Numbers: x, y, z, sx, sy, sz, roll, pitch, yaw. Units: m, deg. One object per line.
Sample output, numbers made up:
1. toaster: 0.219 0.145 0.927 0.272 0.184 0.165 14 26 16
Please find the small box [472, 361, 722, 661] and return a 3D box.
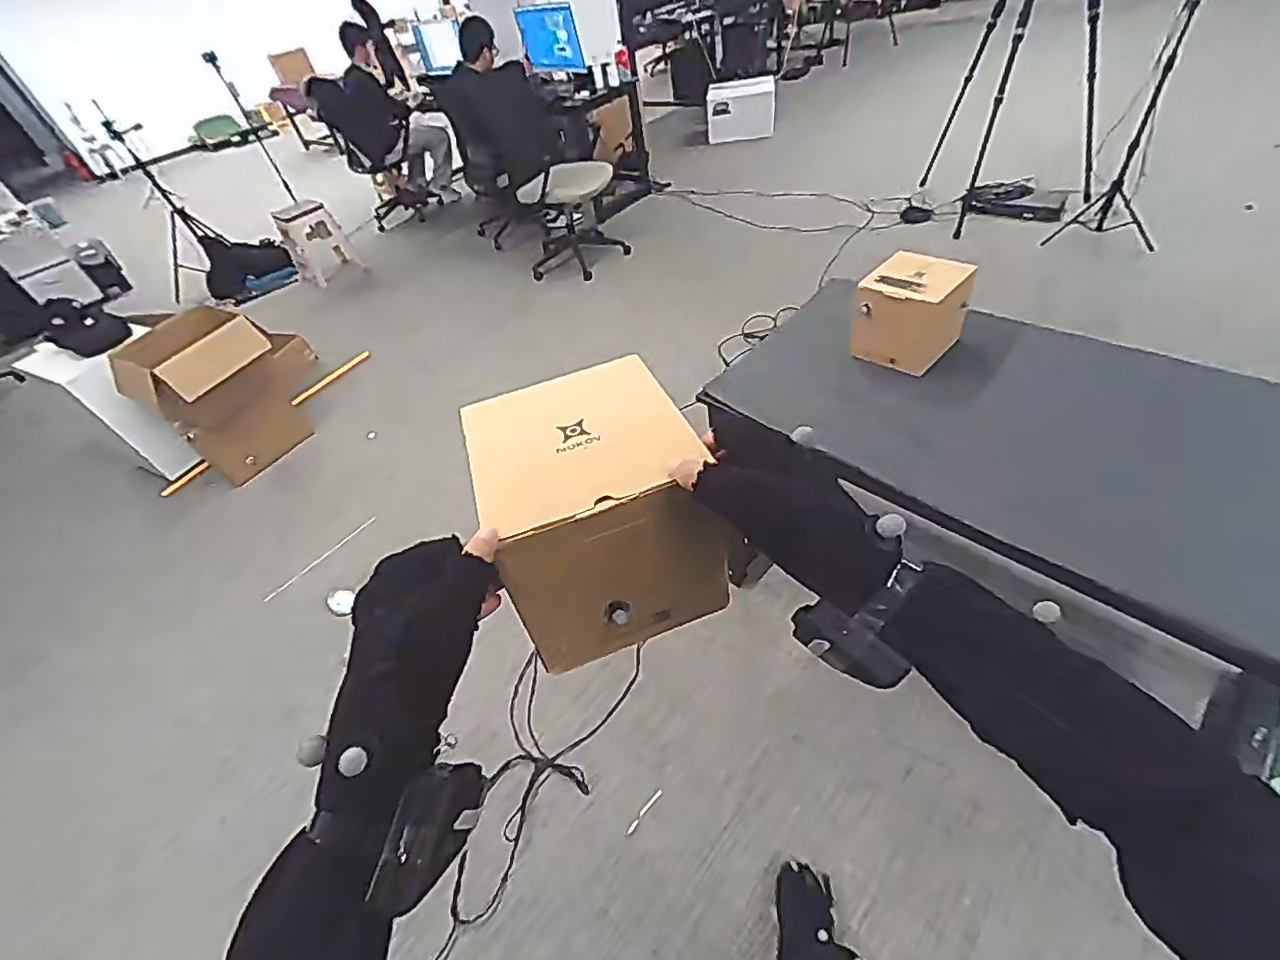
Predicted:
1. small box: -0.037 0.023 0.480 0.168 0.176 0.179 -18 42 -9
